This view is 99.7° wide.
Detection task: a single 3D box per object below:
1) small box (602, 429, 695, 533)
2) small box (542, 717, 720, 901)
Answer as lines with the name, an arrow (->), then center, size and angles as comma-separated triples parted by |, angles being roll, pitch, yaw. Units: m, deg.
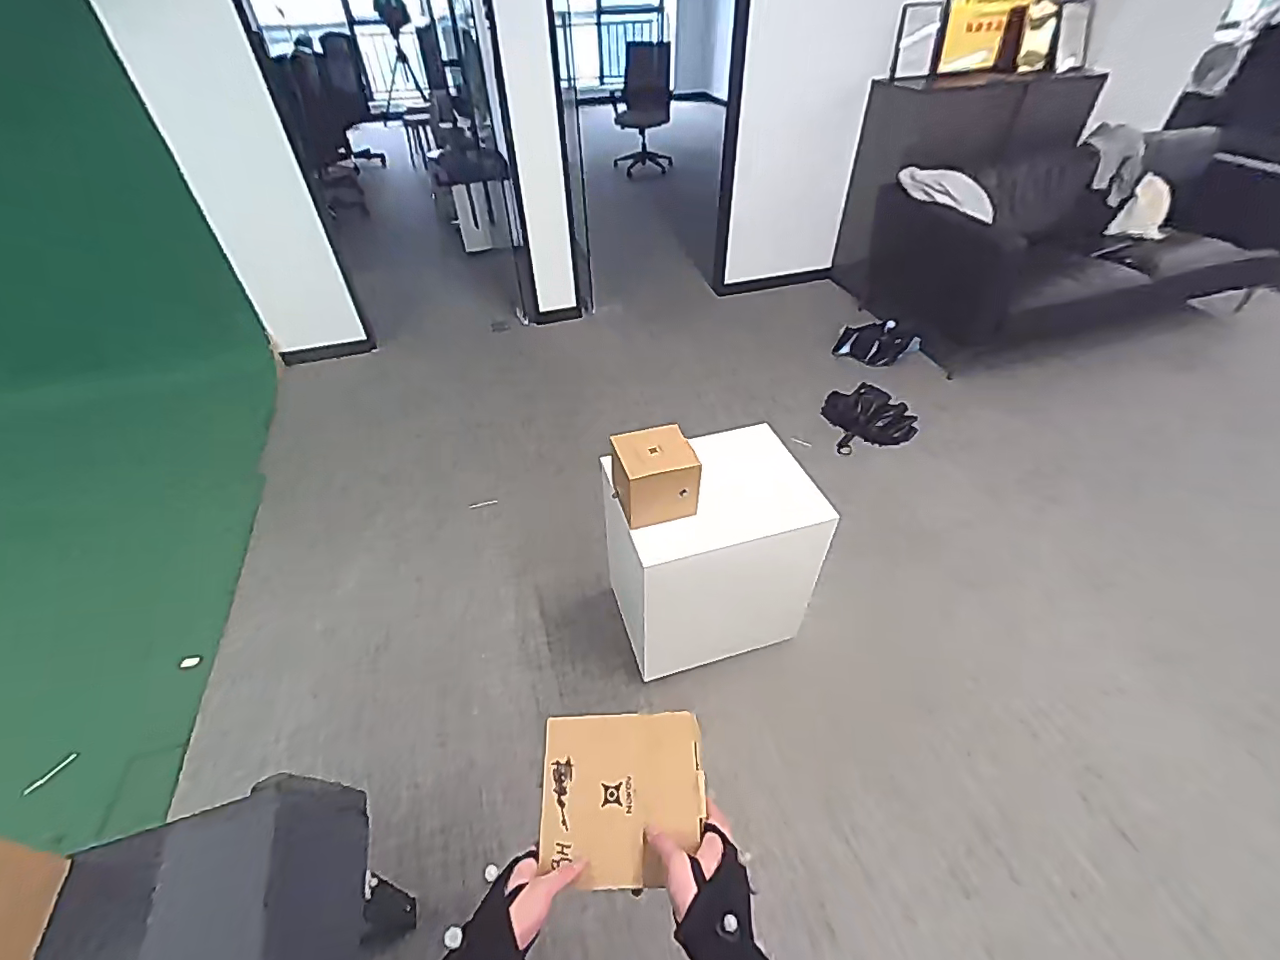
small box -> 0.013, 0.003, 1.302 | 0.179, 0.176, 0.168 | -13, 43, -16
small box -> -0.006, 0.380, 0.634 | 0.179, 0.176, 0.168 | -3, 57, 2
